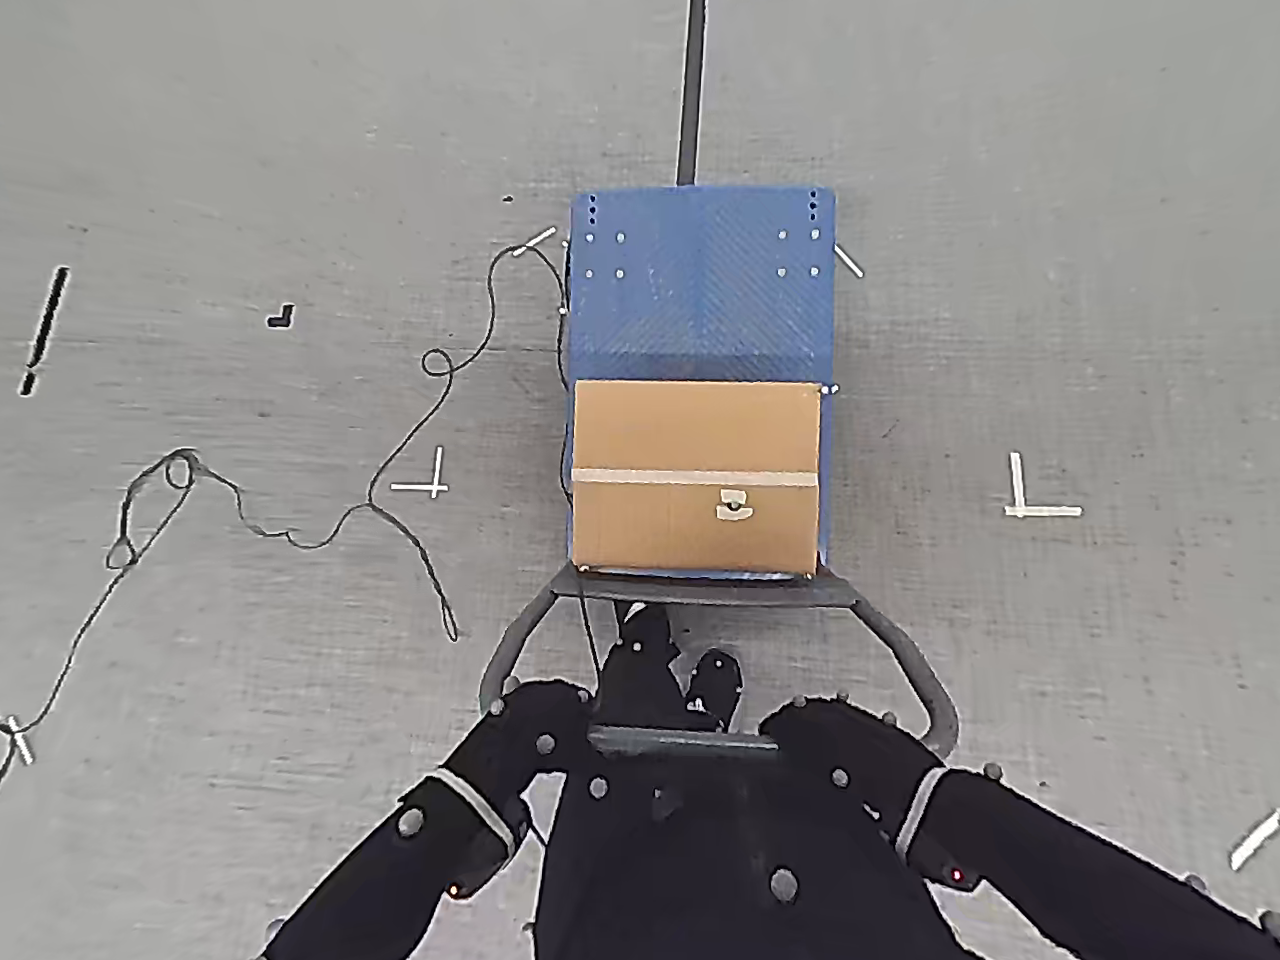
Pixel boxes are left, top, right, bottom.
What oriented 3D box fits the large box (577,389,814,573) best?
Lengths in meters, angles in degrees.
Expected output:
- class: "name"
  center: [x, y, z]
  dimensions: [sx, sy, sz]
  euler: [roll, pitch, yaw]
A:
- class: "large box"
  center: [0.098, 0.002, 1.062]
  dimensions: [0.408, 0.320, 0.320]
  euler: [1, 91, 3]
